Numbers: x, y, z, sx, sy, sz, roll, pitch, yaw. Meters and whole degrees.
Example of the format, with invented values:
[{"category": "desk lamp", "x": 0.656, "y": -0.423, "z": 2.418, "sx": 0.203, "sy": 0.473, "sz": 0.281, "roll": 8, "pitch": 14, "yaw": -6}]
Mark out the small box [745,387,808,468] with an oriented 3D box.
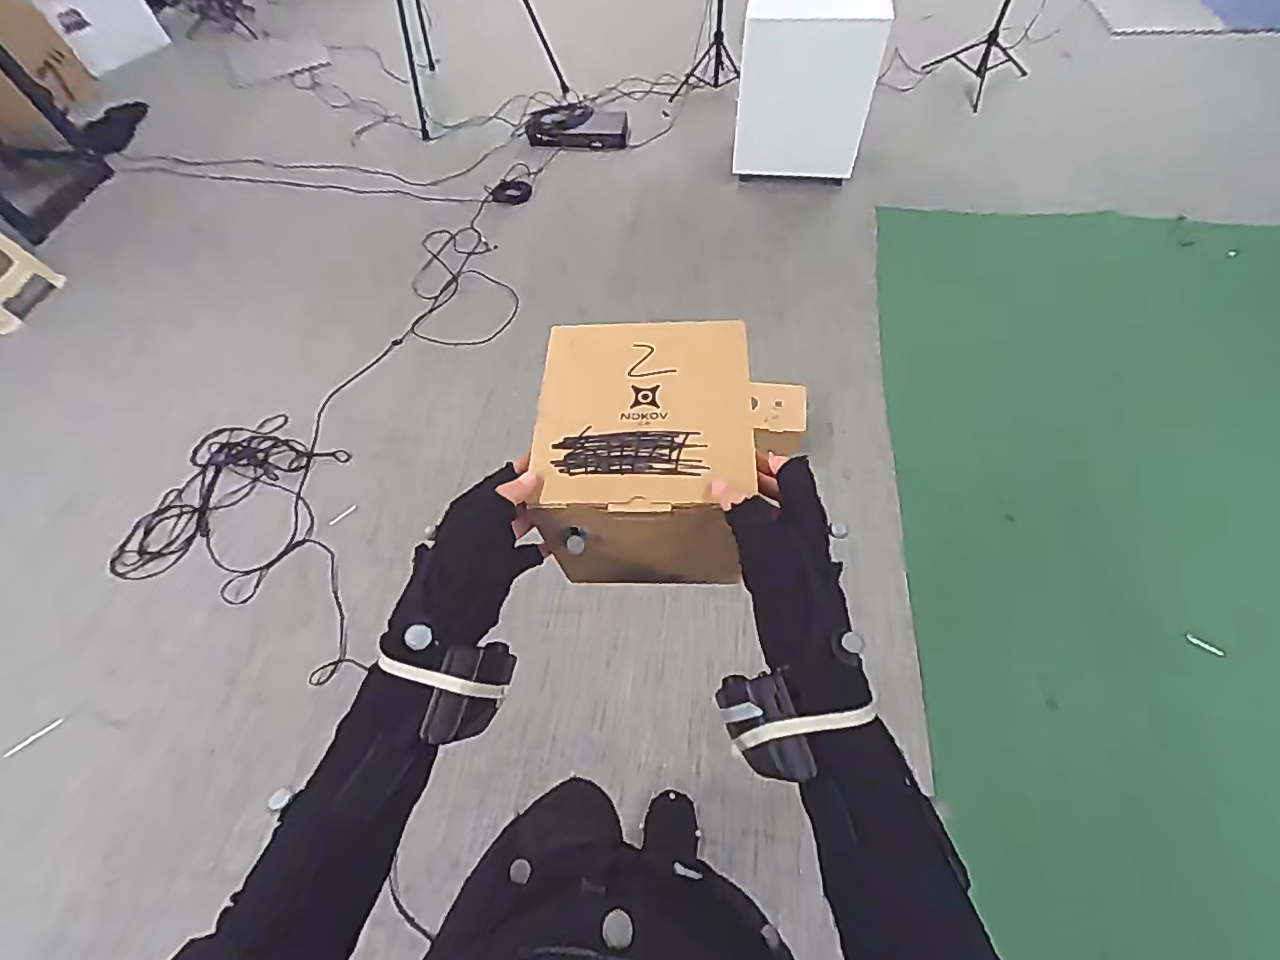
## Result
[{"category": "small box", "x": 0.417, "y": -0.162, "z": 1.667, "sx": 0.168, "sy": 0.176, "sz": 0.179, "roll": 6, "pitch": 60, "yaw": 8}]
